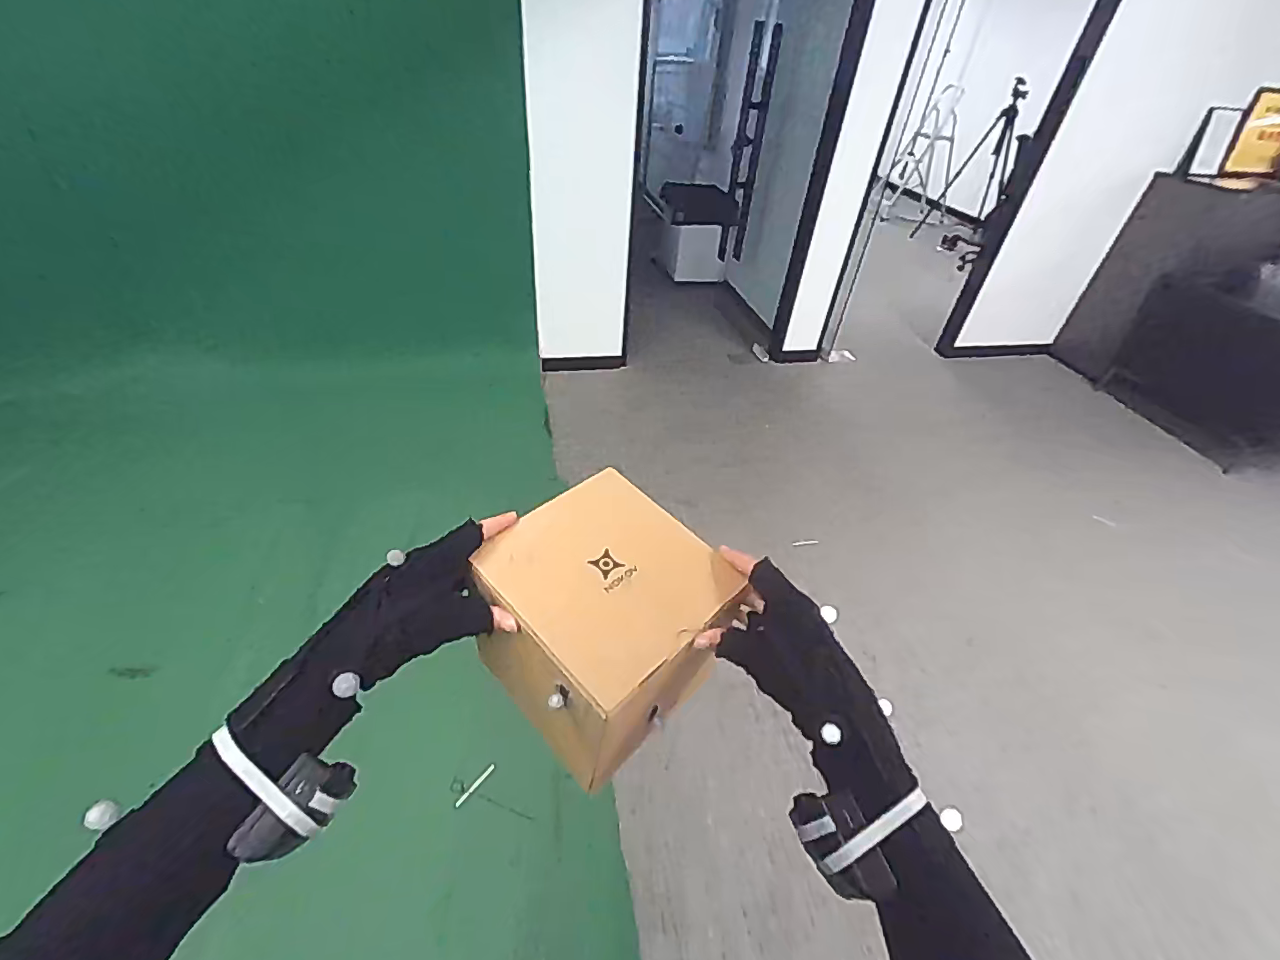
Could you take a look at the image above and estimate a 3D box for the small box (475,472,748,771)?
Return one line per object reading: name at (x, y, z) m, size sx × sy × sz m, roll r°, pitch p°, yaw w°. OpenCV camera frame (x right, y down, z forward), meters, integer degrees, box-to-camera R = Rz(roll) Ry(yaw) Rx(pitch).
small box at (-0.034, 0.129, 0.507) m, size 0.168 × 0.176 × 0.179 m, roll -31°, pitch 58°, yaw -35°
